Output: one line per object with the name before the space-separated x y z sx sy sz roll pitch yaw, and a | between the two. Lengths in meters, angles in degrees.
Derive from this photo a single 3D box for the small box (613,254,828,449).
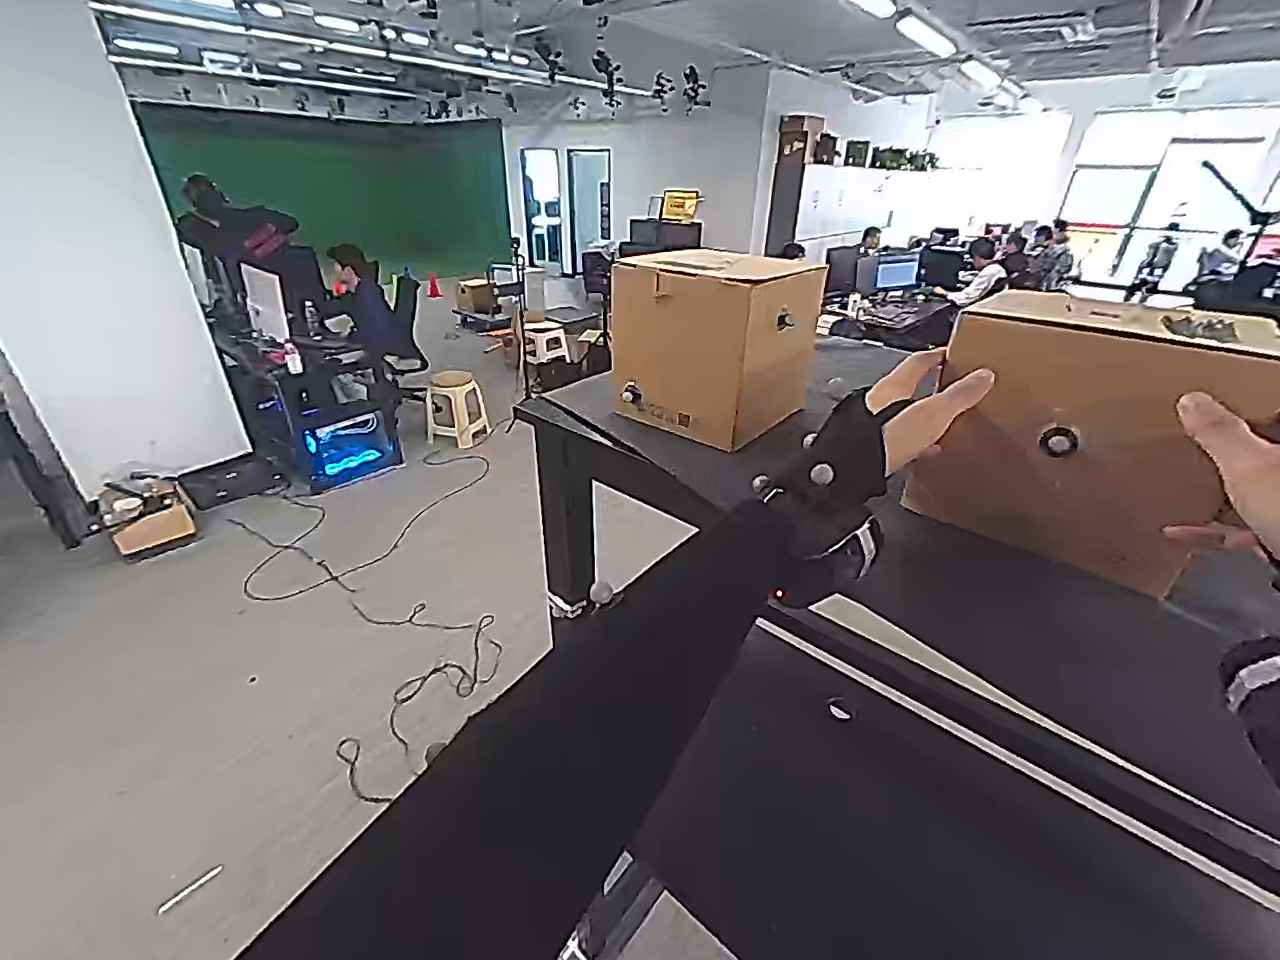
small box | 0.088 -0.151 0.607 0.168 0.176 0.179 23 35 32
